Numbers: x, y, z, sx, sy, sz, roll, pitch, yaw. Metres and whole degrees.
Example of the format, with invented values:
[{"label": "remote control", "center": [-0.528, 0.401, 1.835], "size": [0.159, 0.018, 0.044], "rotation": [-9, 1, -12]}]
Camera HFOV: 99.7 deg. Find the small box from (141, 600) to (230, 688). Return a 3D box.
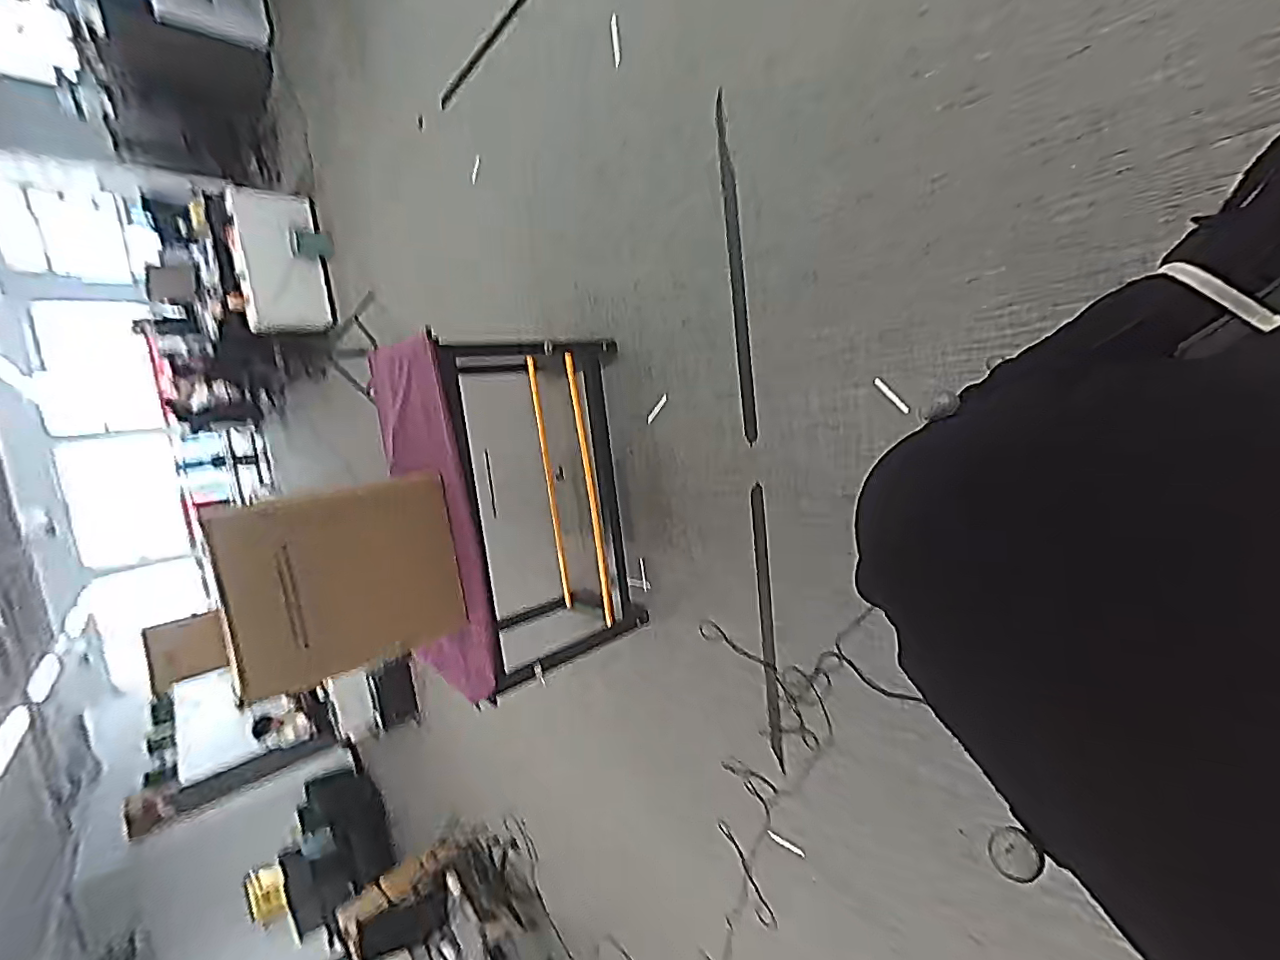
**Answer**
[{"label": "small box", "center": [-1.296, 0.462, 1.549], "size": [0.168, 0.176, 0.179], "rotation": [-5, 95, 49]}]
